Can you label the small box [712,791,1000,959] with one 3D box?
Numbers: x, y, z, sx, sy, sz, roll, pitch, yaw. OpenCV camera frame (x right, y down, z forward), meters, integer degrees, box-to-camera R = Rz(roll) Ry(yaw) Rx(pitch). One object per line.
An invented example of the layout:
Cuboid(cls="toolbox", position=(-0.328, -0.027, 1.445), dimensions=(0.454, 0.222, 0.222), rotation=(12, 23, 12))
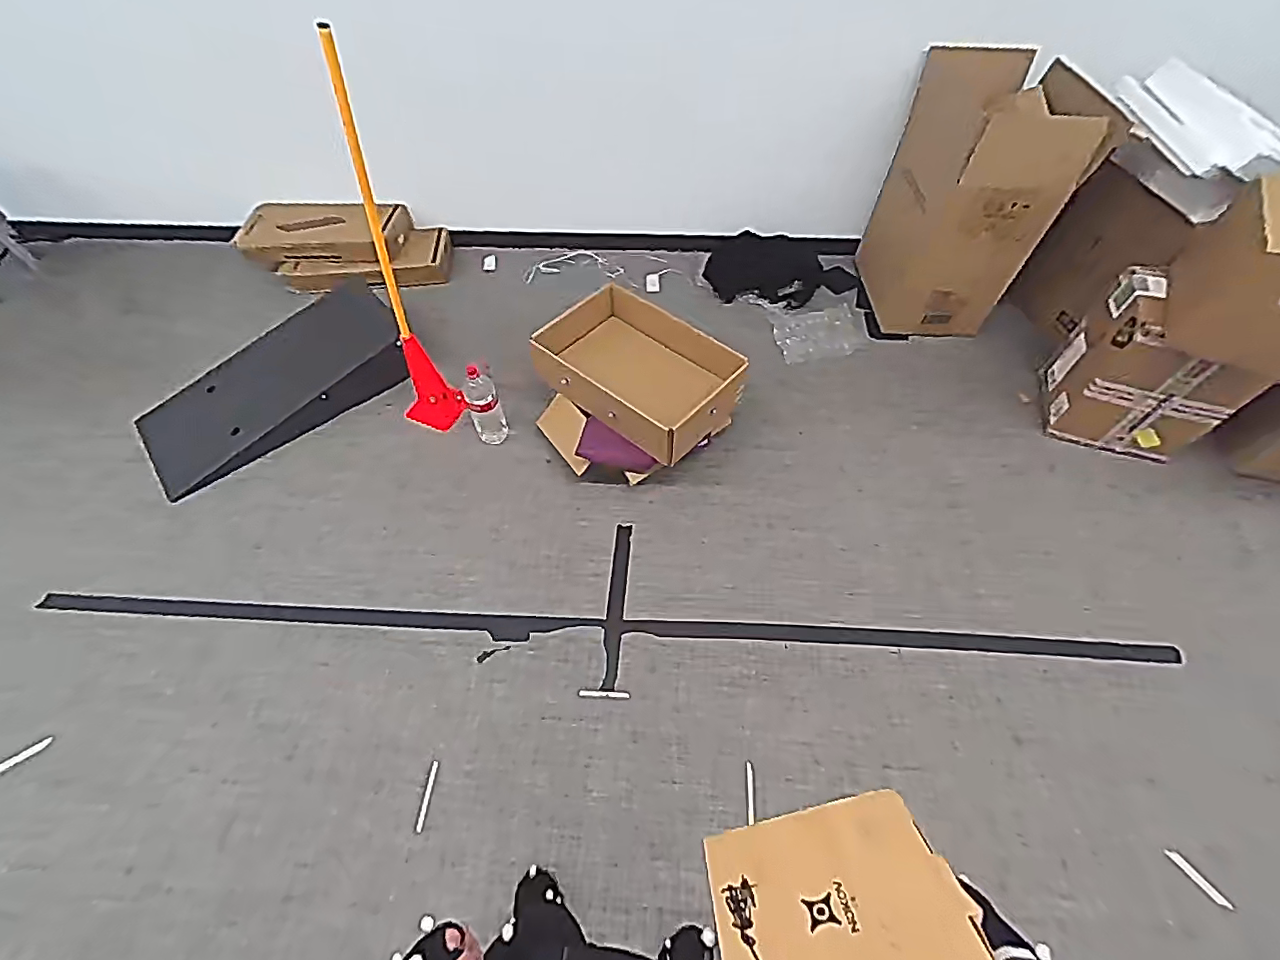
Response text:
Cuboid(cls="small box", position=(0.170, 0.392, 0.424), dimensions=(0.179, 0.176, 0.168), rotation=(-16, 15, 3))
